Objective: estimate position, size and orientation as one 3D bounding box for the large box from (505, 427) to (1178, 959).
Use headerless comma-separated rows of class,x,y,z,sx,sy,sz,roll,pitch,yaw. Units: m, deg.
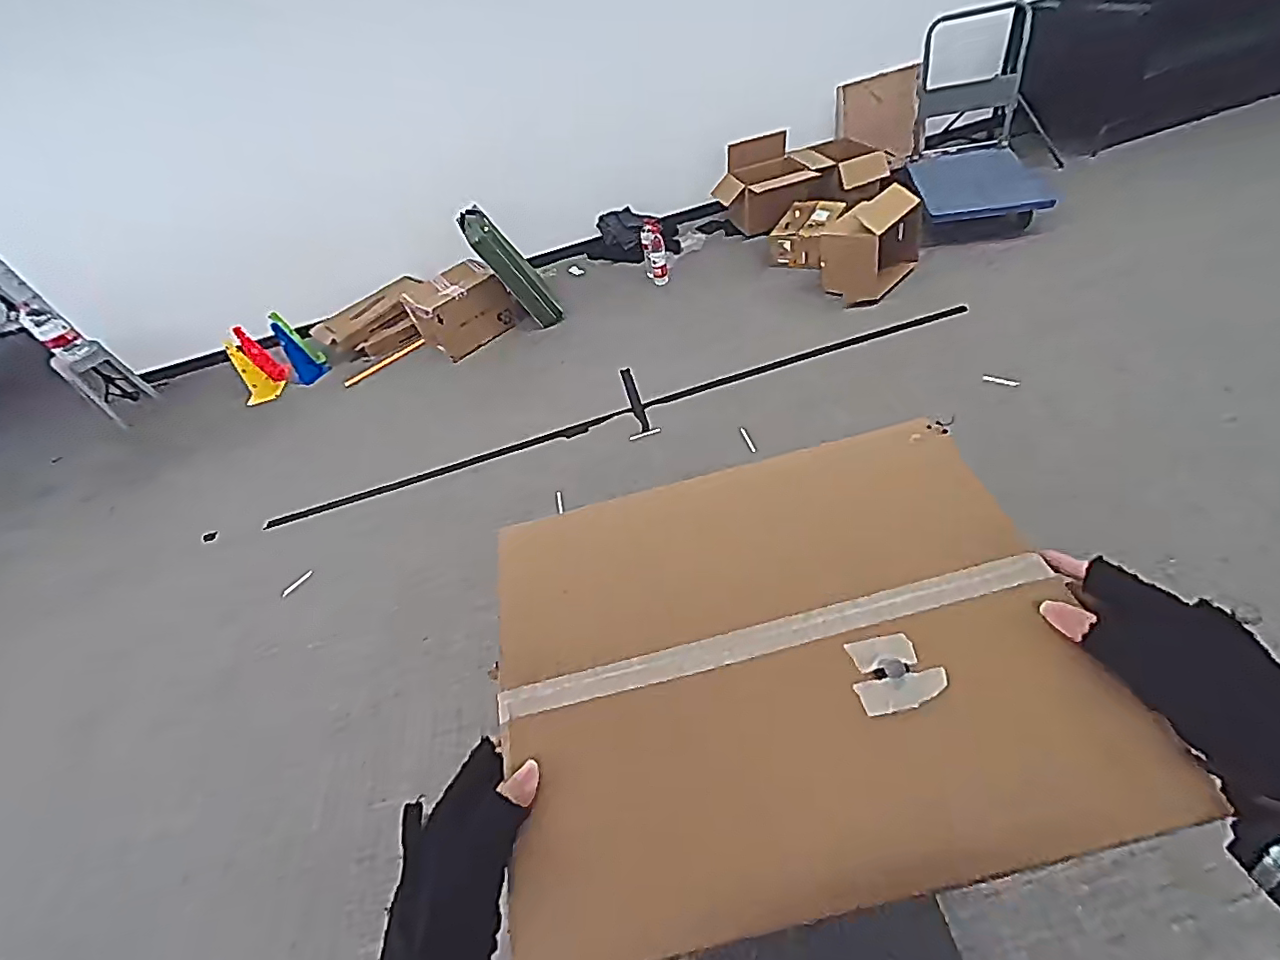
large box,0.120,0.207,0.524,0.408,0.320,0.320,-15,53,0
